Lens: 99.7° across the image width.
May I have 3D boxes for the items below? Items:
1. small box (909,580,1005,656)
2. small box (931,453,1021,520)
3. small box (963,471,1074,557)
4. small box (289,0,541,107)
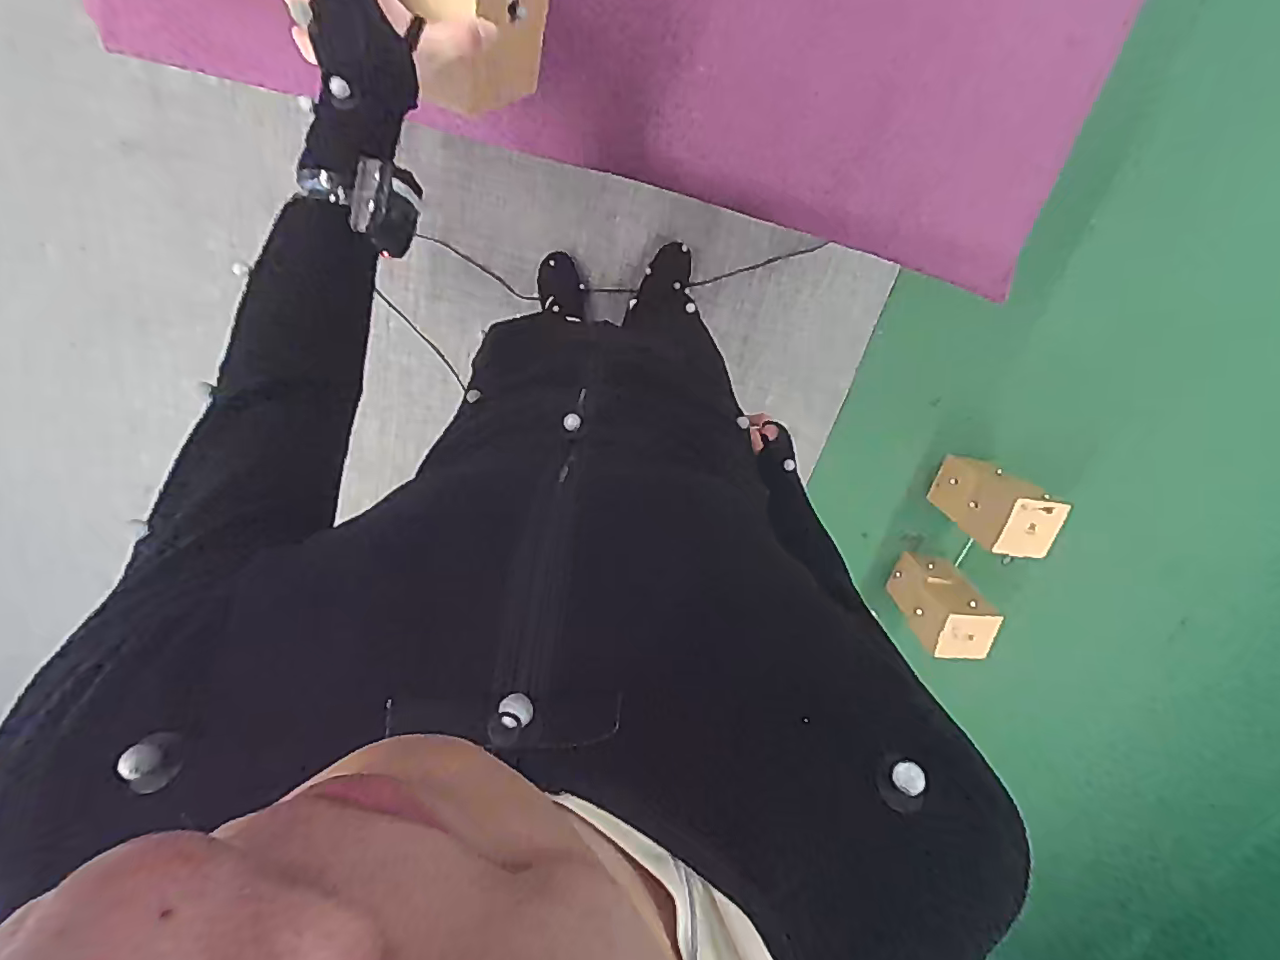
[{"bbox_3d":[0.993,0.433,1.710,0.179,0.176,0.168,4,115,-4],"label":"small box"},{"bbox_3d":[1.062,0.028,1.703,0.179,0.176,0.168,10,114,-8],"label":"small box"},{"bbox_3d":[1.072,0.094,1.553,0.168,0.176,0.179,8,115,-7],"label":"small box"},{"bbox_3d":[-0.192,-0.480,0.487,0.168,0.176,0.179,22,136,-2],"label":"small box"}]
